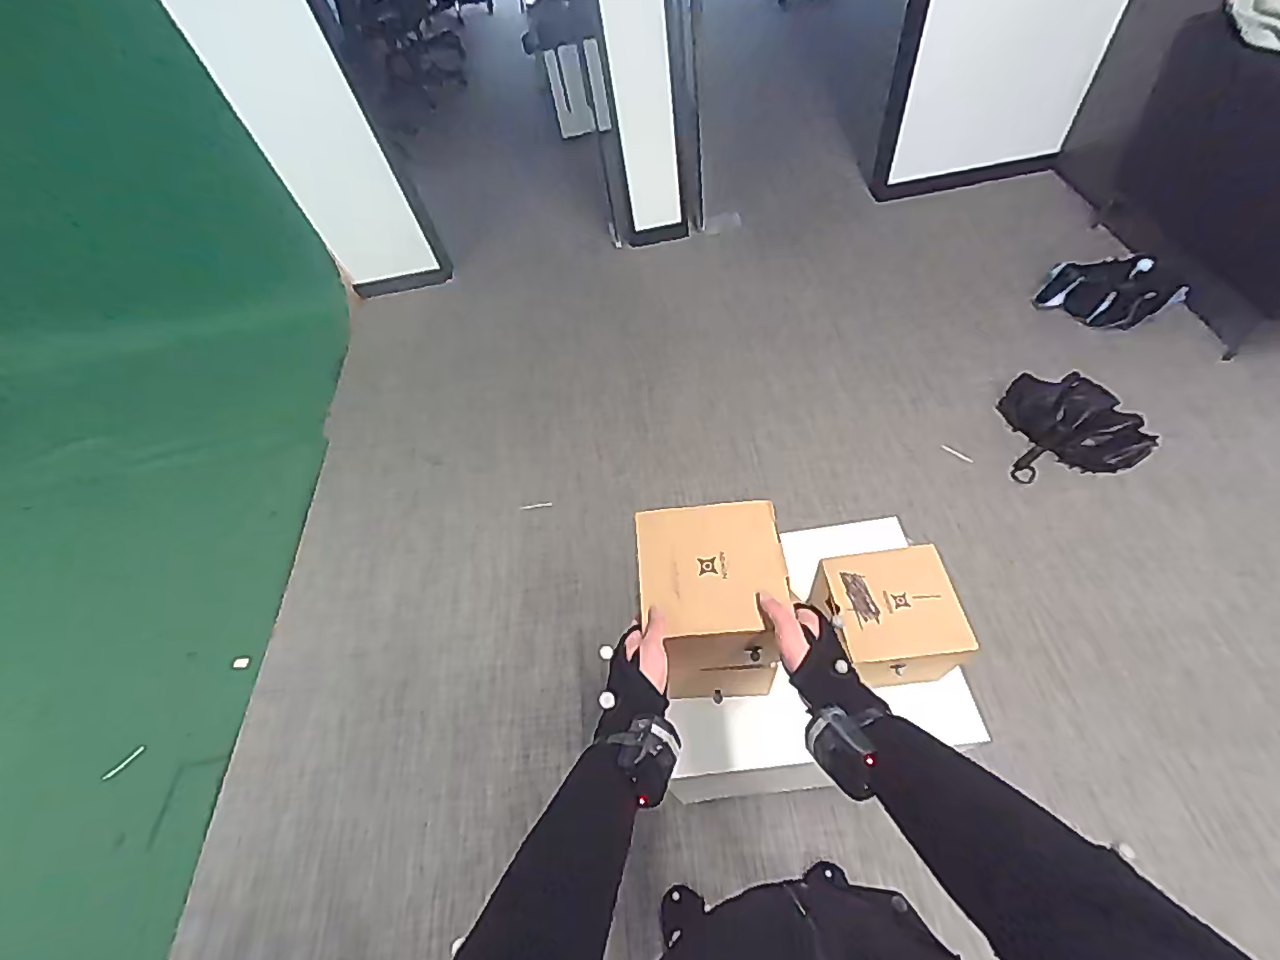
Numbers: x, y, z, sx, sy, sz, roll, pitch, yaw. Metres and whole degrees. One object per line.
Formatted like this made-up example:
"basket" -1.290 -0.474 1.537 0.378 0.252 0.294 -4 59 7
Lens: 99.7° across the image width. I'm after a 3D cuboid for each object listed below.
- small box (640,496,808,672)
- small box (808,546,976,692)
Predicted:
"small box" 0.095 0.138 0.691 0.179 0.176 0.168 -6 57 1
"small box" 0.374 0.223 0.848 0.179 0.176 0.168 -7 55 1
